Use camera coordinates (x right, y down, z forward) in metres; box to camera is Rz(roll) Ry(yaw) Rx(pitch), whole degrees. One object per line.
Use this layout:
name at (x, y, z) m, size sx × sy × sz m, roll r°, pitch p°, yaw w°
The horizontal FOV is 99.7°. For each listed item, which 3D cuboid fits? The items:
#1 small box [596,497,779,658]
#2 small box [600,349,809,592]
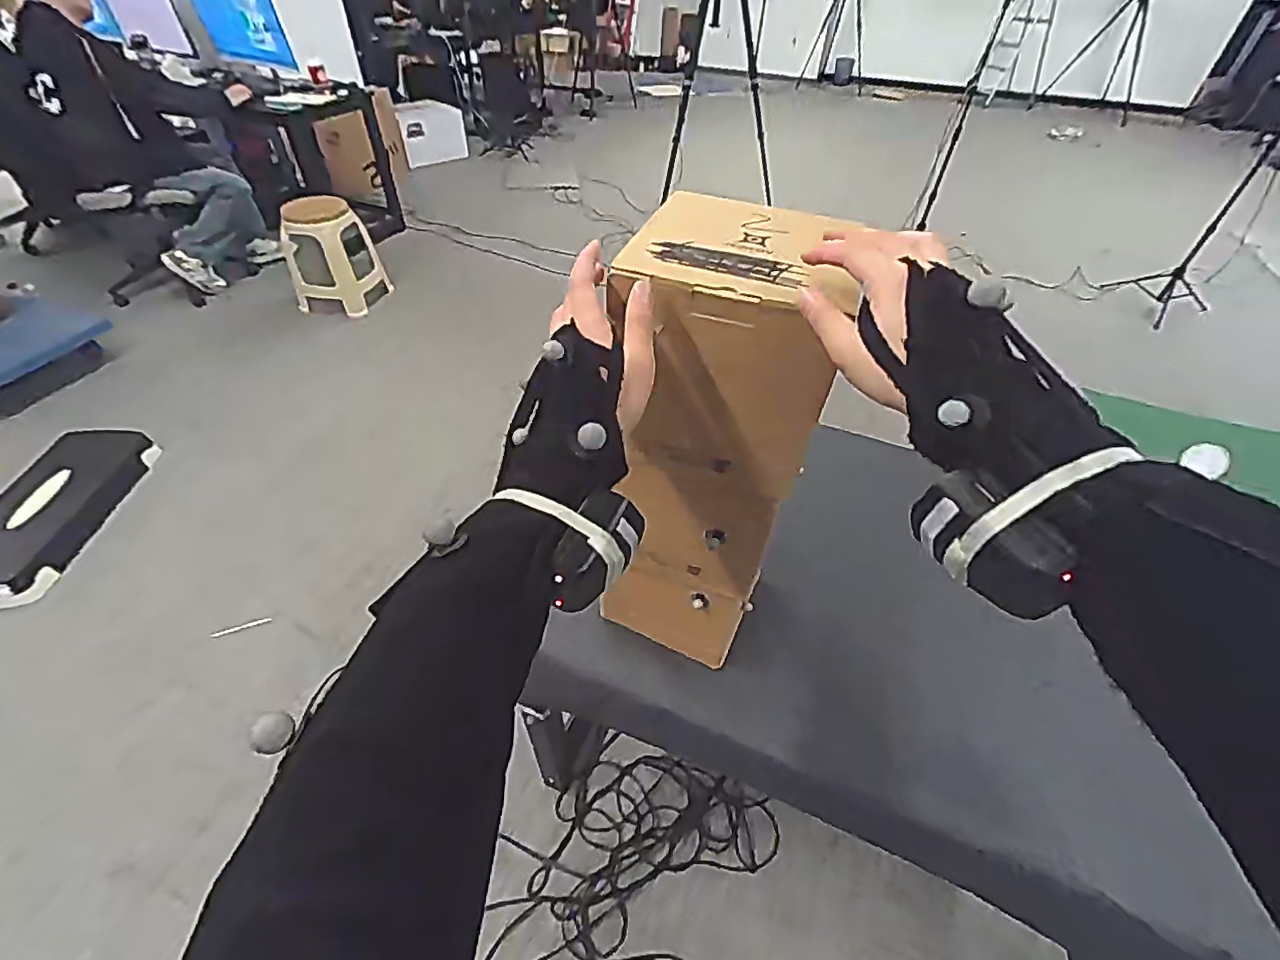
small box at (0.058, 0.100, 0.699) m, size 0.179 × 0.176 × 0.168 m, roll 21°, pitch 47°, yaw 17°
small box at (0.066, -0.009, 0.579) m, size 0.168 × 0.176 × 0.179 m, roll 18°, pitch 46°, yaw 12°
